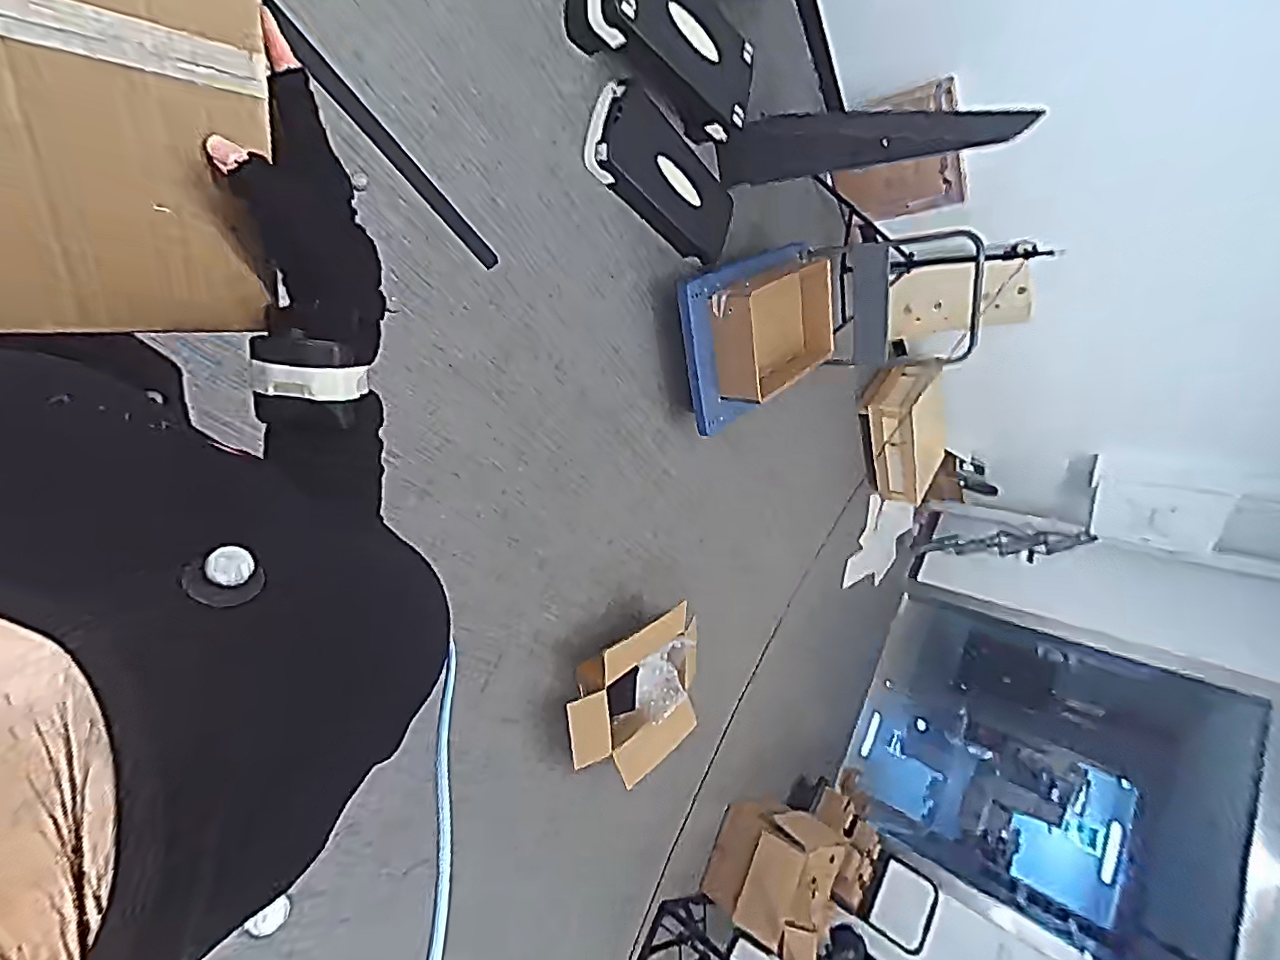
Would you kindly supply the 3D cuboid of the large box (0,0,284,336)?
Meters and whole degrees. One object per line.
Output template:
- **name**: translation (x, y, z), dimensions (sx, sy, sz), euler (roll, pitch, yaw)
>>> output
- **large box**: translation (-0.452, -0.276, 0.253), dimensions (0.408, 0.320, 0.320), euler (-15, 140, -41)
